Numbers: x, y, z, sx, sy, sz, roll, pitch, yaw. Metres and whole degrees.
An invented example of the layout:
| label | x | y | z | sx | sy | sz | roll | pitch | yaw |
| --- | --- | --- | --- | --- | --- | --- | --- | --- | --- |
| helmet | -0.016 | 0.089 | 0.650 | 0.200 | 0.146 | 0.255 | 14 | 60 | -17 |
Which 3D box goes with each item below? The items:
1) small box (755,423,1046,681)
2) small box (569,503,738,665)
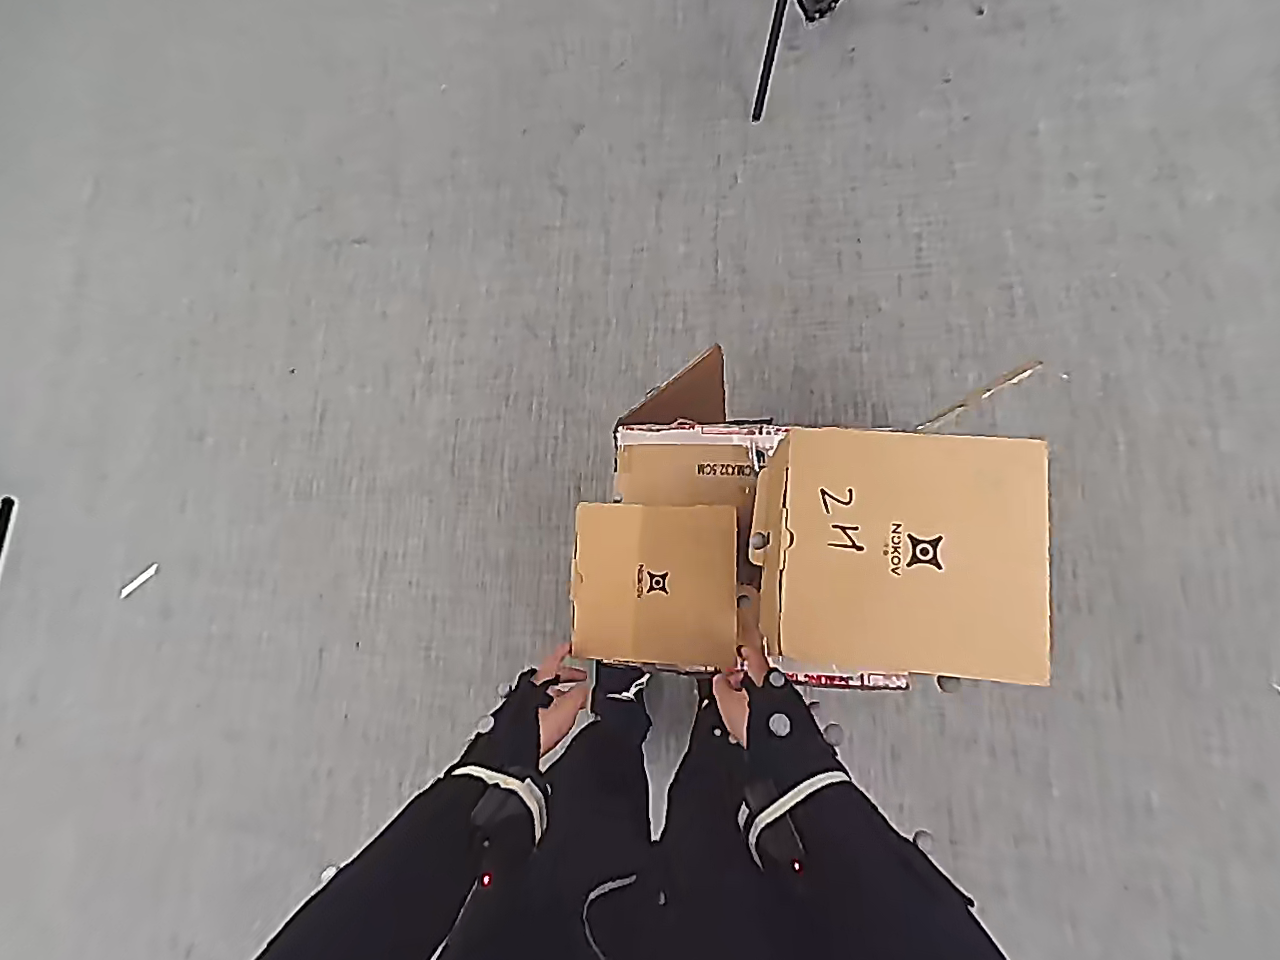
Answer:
| label | x | y | z | sx | sy | sz | roll | pitch | yaw |
| --- | --- | --- | --- | --- | --- | --- | --- | --- | --- |
| small box | 0.195 | 0.056 | 0.451 | 0.179 | 0.176 | 0.168 | 4 | 82 | 9 |
| small box | 0.025 | 0.114 | 0.642 | 0.179 | 0.176 | 0.168 | -1 | 82 | 10 |
